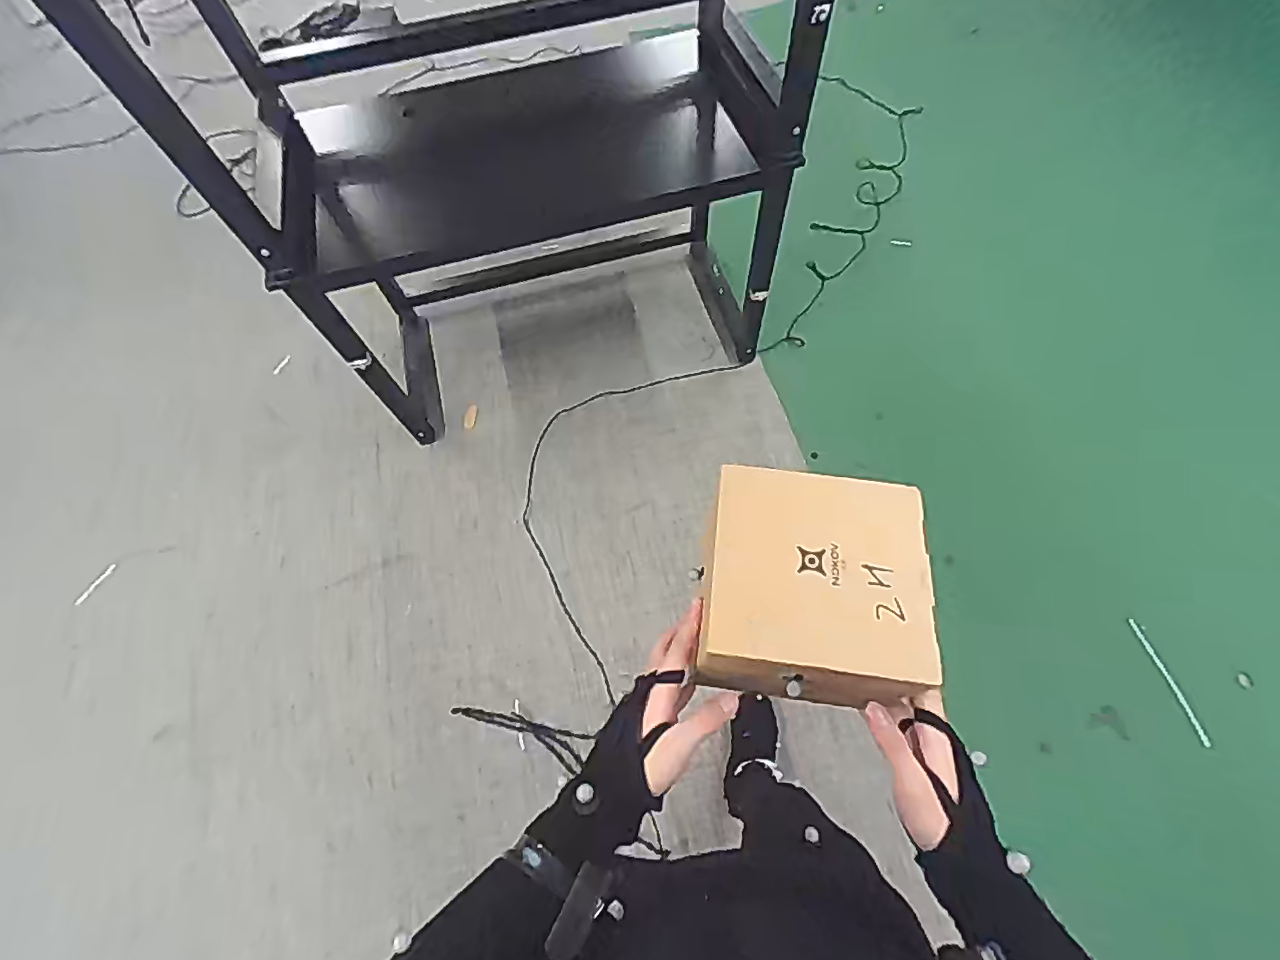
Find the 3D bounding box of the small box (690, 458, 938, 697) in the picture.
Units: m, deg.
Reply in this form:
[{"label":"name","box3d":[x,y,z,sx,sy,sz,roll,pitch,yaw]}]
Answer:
[{"label":"small box","box3d":[0.144,0.099,0.507,0.179,0.176,0.168,8,63,4]}]
